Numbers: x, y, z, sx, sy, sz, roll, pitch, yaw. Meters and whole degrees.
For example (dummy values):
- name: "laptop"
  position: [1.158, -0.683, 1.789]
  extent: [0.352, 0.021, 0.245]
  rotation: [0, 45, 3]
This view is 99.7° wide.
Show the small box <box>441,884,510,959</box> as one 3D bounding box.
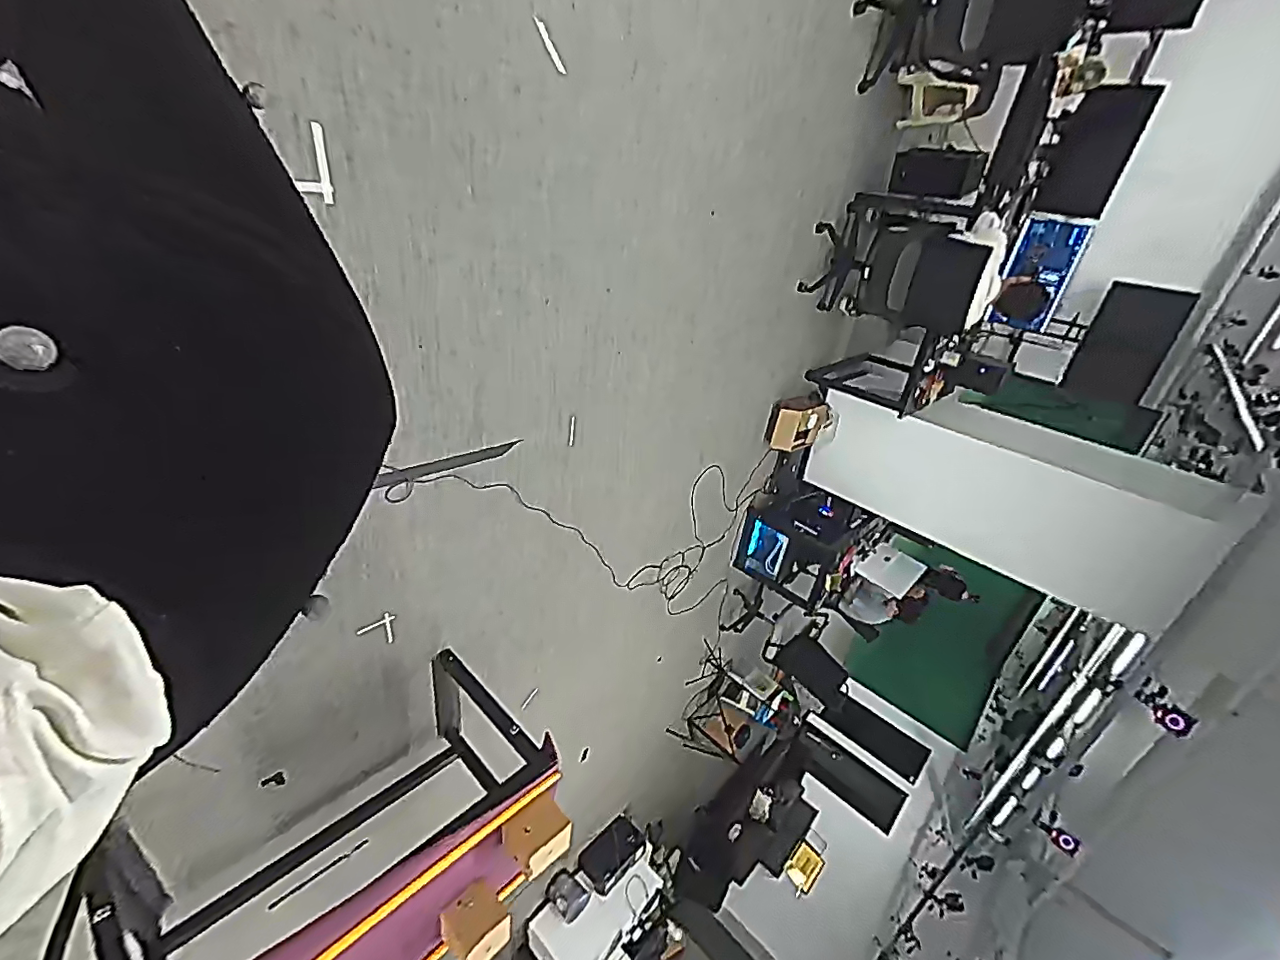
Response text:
- name: "small box"
  position: [-0.564, 1.541, 1.846]
  extent: [0.168, 0.176, 0.179]
  rotation: [-20, 127, -44]

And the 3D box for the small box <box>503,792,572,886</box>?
- name: "small box"
  position: [-0.362, 1.249, 1.890]
  extent: [0.179, 0.176, 0.168]
  rotation: [-19, 129, -41]
